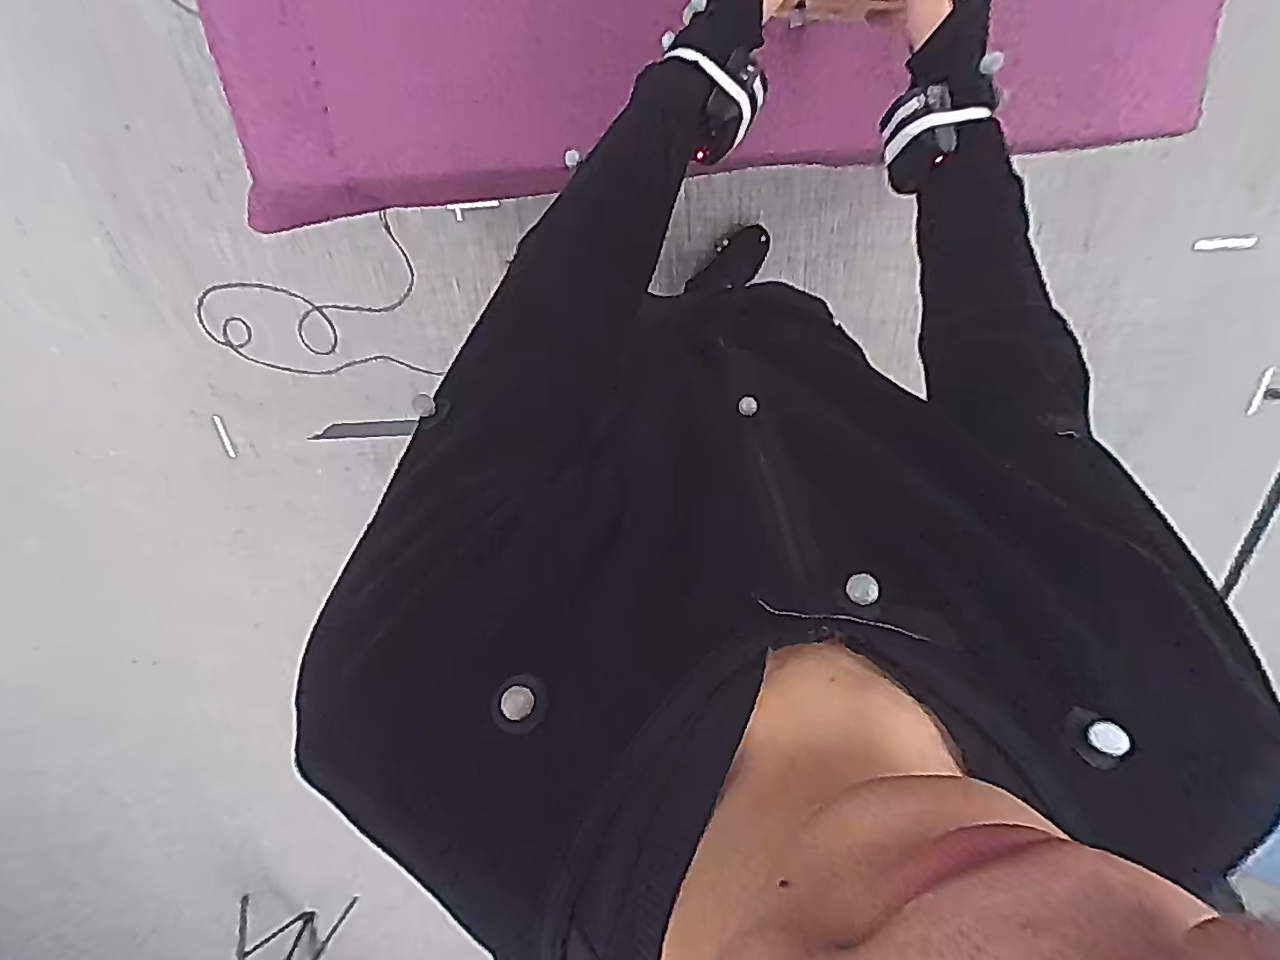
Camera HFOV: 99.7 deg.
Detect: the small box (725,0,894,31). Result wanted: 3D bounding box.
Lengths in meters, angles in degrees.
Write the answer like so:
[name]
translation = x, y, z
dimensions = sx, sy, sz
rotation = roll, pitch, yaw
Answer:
[small box]
translation = 0.168, -0.537, 0.476
dimensions = 0.168, 0.176, 0.179
rotation = 6, 116, 3
